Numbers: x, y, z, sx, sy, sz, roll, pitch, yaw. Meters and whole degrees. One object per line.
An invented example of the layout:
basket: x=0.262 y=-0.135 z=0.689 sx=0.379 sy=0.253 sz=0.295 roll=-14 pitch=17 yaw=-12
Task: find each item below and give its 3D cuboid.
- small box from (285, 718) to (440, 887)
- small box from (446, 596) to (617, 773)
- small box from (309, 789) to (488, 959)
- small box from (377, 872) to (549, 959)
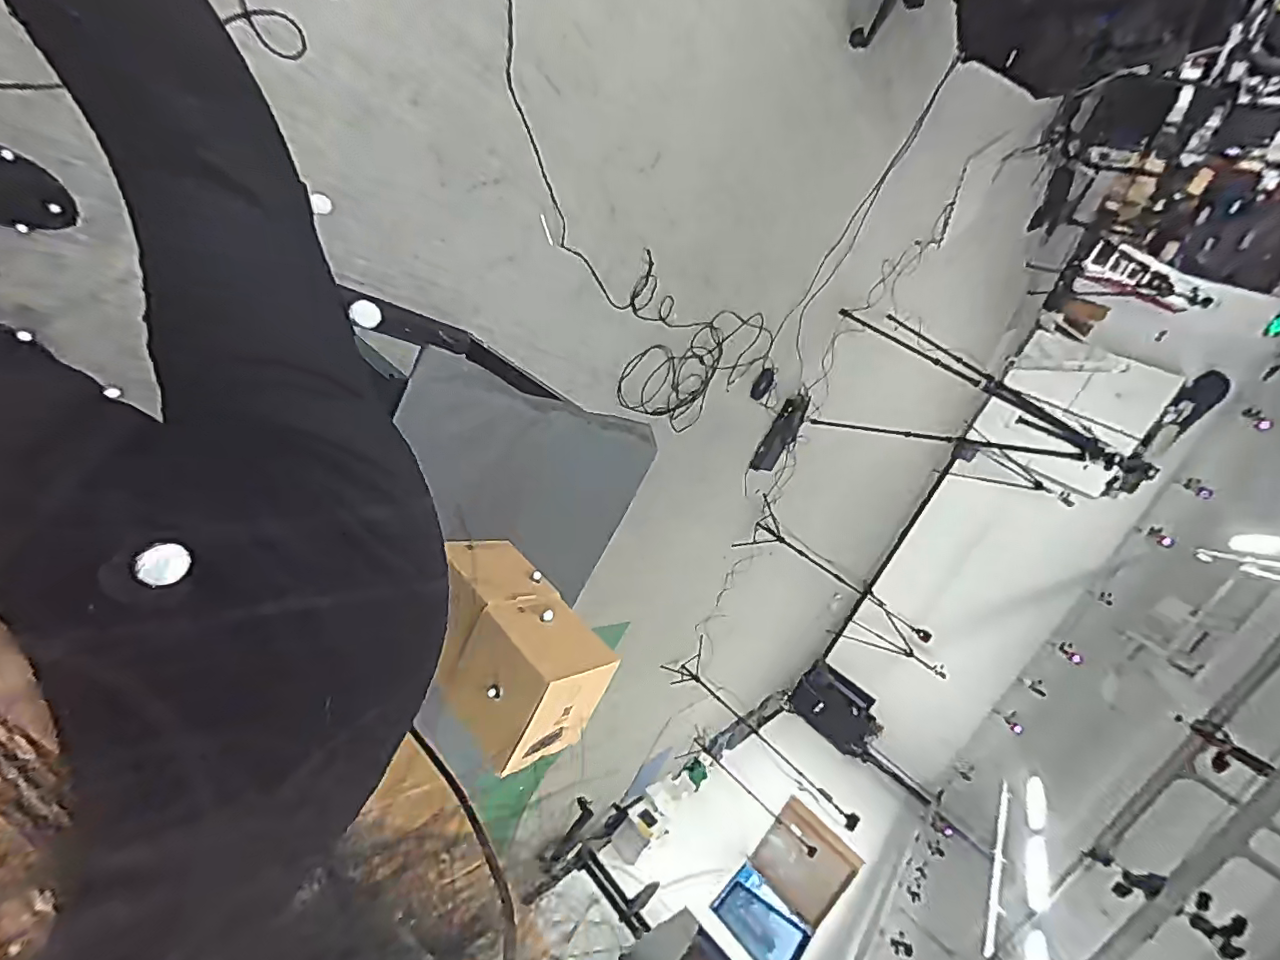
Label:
small box: x=-0.500 y=0.565 z=0.966 sx=0.168 sy=0.176 sz=0.179 roll=15 pitch=107 yaw=-58
small box: x=-0.174 y=0.305 z=0.843 sx=0.168 sy=0.176 sz=0.179 roll=9 pitch=112 yaw=-55
small box: x=-0.390 y=0.643 z=0.876 sx=0.179 sy=0.176 sz=0.168 roll=19 pitch=102 yaw=-57
small box: x=-0.275 y=0.725 z=0.794 sx=0.179 sy=0.176 sz=0.168 roll=-60 pitch=148 yaw=5
